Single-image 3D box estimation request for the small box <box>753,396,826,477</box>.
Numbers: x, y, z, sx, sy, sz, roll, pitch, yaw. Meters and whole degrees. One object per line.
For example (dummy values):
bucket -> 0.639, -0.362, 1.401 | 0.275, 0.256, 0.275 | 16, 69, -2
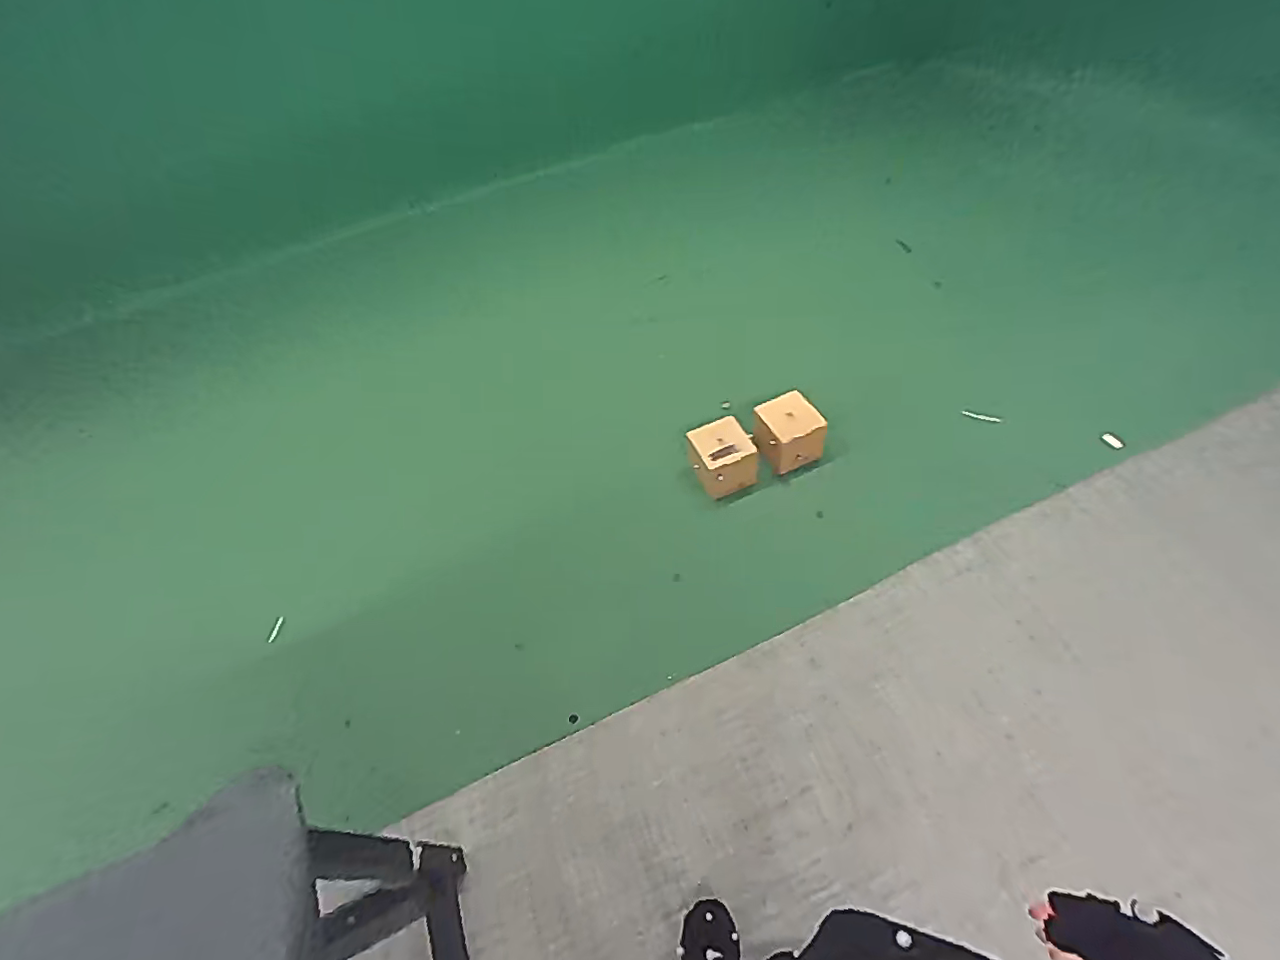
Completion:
small box -> 0.489, -0.143, 1.802 | 0.168, 0.176, 0.179 | -23, 54, -10
